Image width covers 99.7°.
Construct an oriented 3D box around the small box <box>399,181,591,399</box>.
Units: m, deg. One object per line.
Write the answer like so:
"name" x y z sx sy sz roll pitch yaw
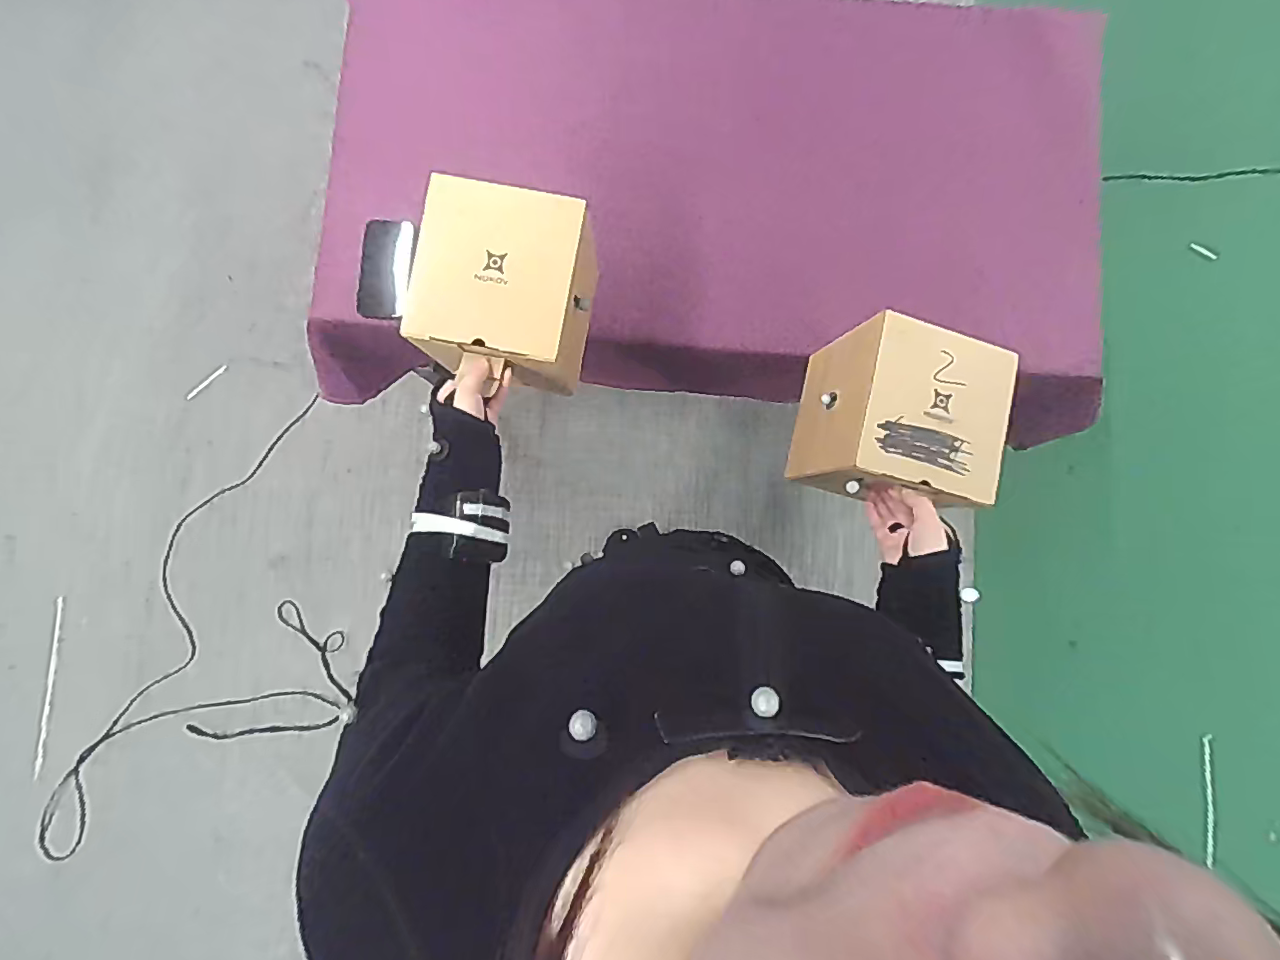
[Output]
"small box" -0.154 -0.207 0.634 0.168 0.176 0.179 10 88 -1
